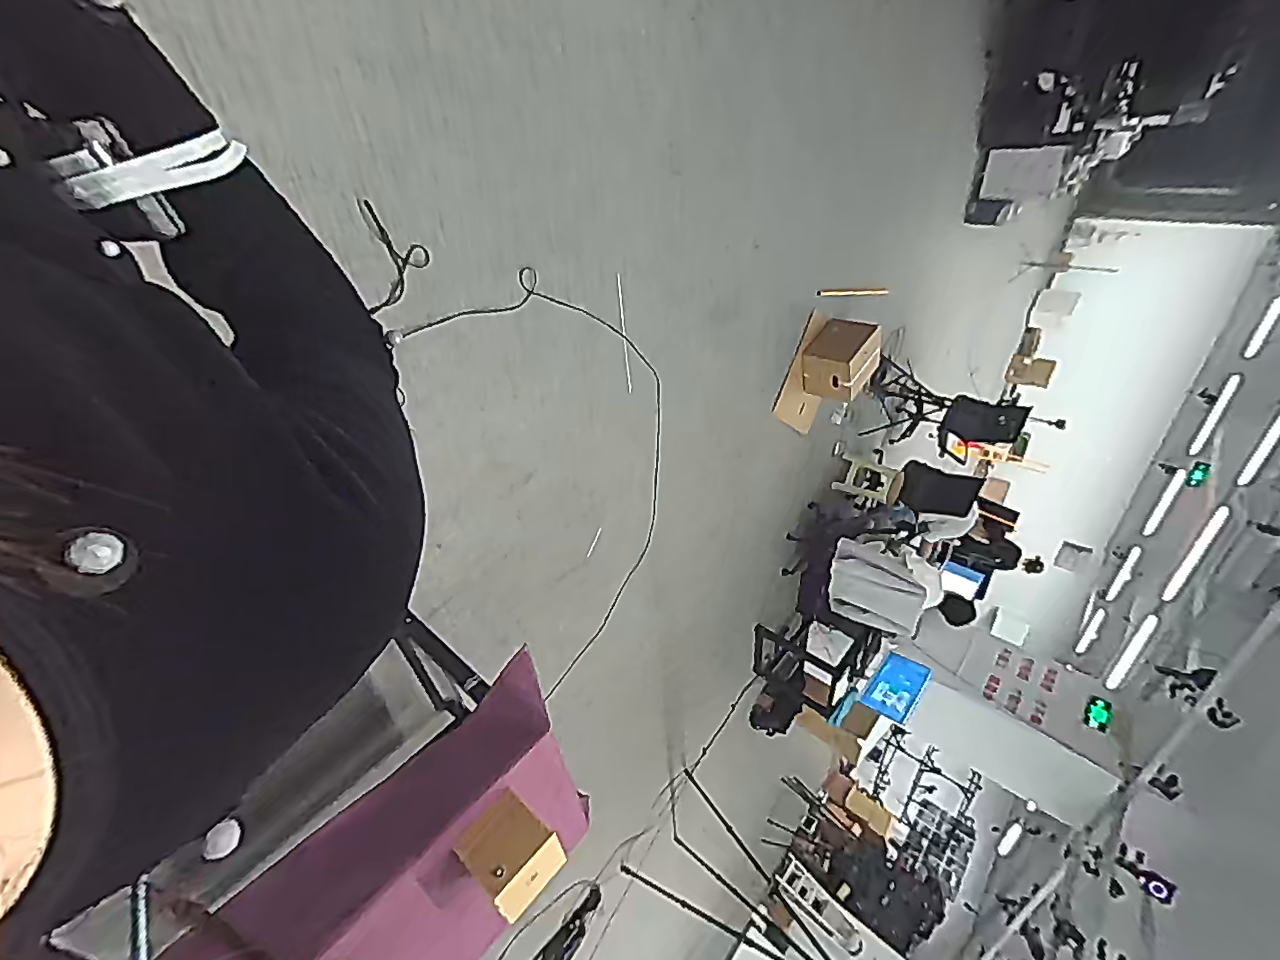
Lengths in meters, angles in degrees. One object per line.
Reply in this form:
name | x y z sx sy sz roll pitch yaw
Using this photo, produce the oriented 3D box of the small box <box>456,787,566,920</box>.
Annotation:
small box | -0.309 0.889 1.302 0.179 0.176 0.168 -36 135 -34
